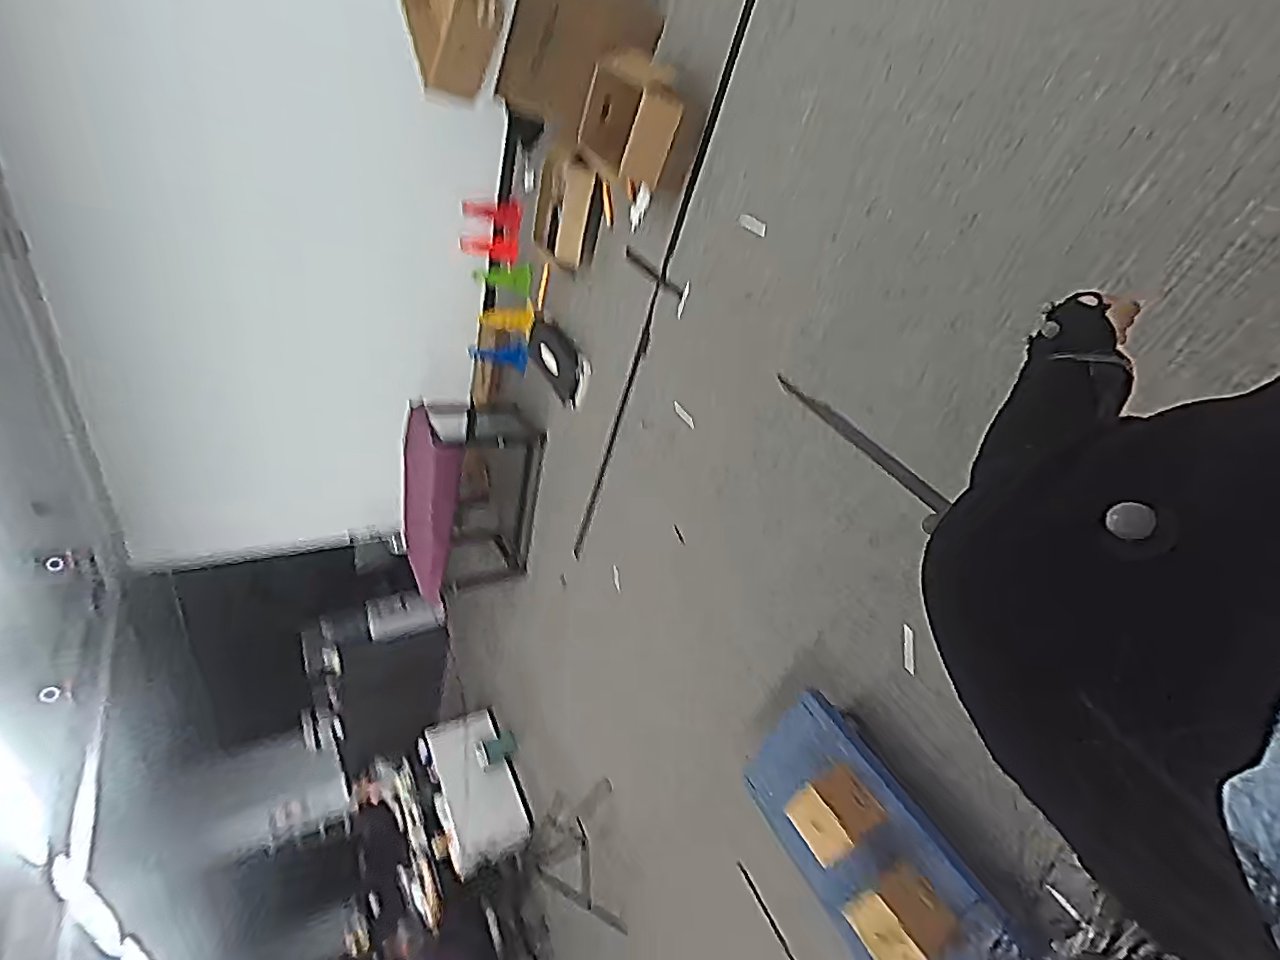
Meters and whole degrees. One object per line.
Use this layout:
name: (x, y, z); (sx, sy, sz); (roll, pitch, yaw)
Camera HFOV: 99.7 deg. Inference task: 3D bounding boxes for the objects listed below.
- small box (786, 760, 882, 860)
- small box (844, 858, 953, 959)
small box: (0.572, 0.968, 1.594); (0.168, 0.176, 0.179); (51, 134, 38)
small box: (0.693, 1.164, 1.446); (0.168, 0.176, 0.179); (50, 133, 38)
